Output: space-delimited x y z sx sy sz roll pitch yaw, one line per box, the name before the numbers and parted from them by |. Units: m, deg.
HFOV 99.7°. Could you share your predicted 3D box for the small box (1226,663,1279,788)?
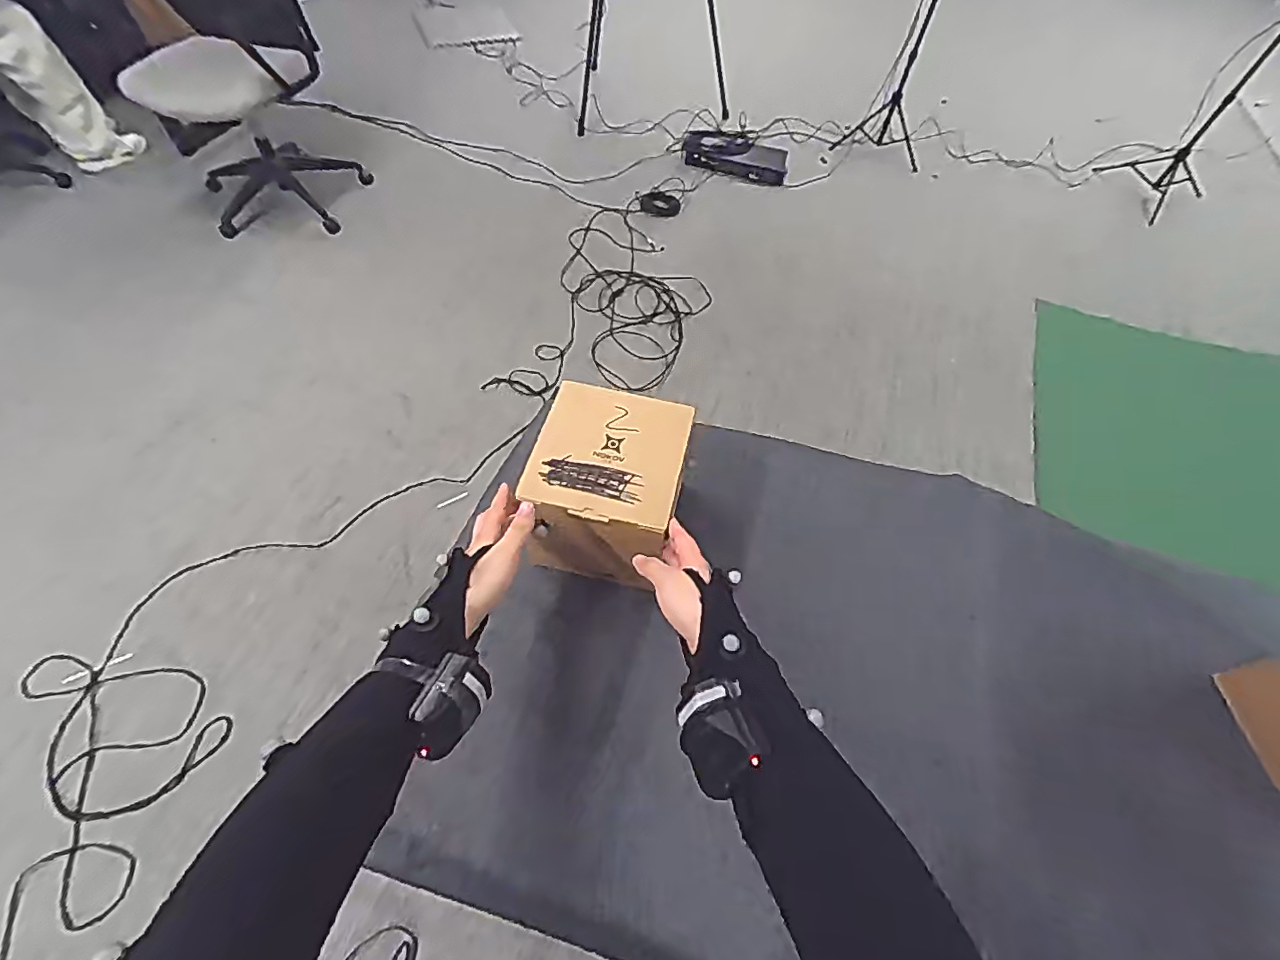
small box | 0.780 0.266 0.544 0.168 0.176 0.179 -2 59 -1
